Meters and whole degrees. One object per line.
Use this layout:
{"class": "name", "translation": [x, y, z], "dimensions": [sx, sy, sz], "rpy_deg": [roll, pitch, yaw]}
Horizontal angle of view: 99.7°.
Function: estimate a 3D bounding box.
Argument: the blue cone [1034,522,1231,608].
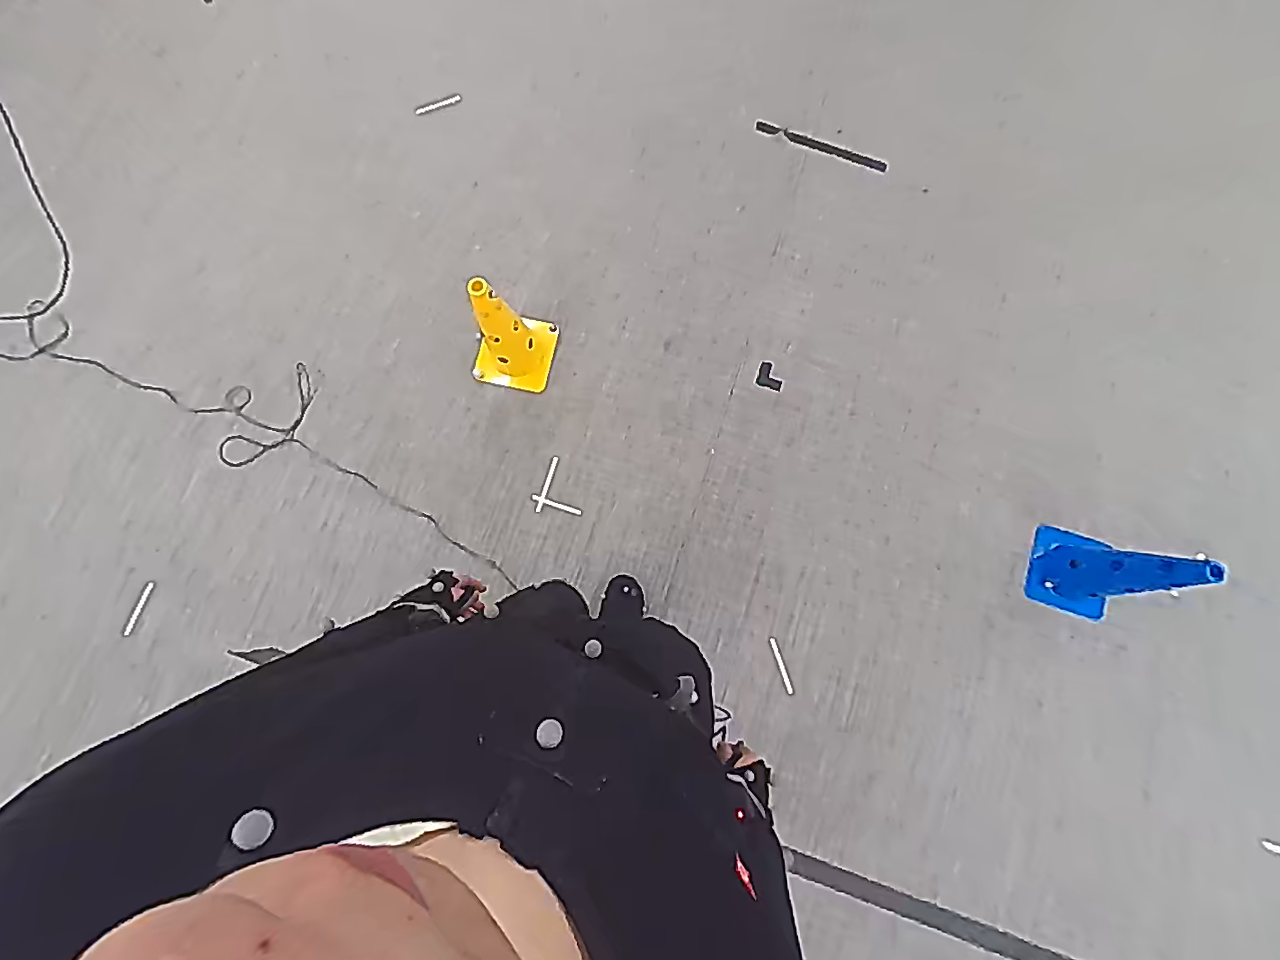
{"class": "blue cone", "translation": [1.095, 0.186, 1.200], "dimensions": [0.193, 0.380, 0.192], "rpy_deg": [20, 80, 3]}
